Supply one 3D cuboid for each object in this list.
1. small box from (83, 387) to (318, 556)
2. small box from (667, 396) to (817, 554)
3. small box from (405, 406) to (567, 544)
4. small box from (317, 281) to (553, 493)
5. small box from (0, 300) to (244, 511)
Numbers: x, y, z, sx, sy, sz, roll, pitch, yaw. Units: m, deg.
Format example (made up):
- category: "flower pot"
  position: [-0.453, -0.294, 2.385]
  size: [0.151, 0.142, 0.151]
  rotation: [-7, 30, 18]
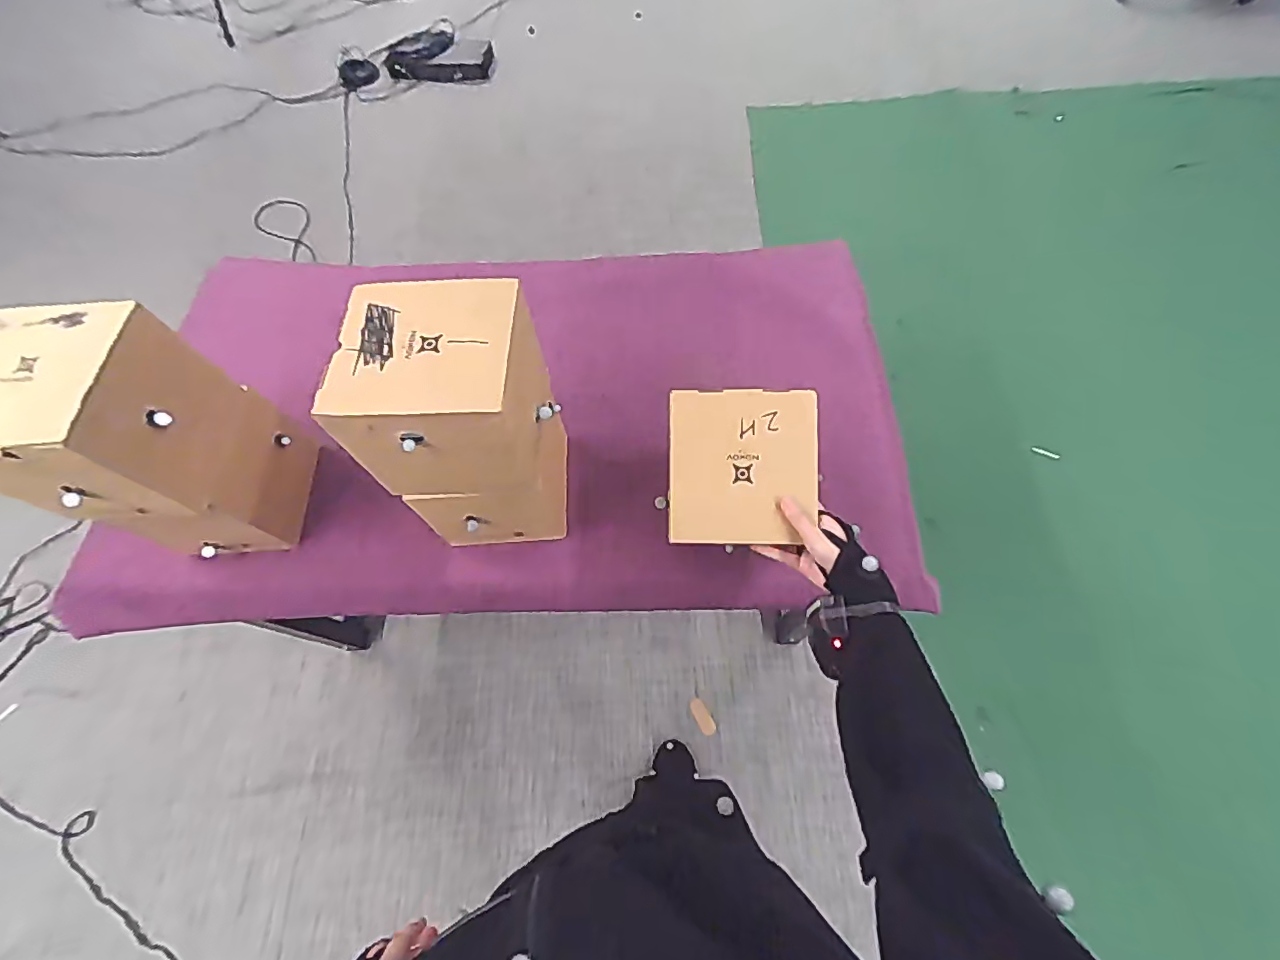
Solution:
- category: "small box"
  position: [-0.583, -0.007, 0.749]
  size: [0.168, 0.176, 0.179]
  rotation: [-3, 64, 1]
- category: "small box"
  position: [0.119, -0.004, 0.685]
  size: [0.168, 0.176, 0.179]
  rotation: [1, 87, 3]
- category: "small box"
  position: [-0.194, -0.019, 0.739]
  size: [0.168, 0.176, 0.179]
  rotation: [-4, 62, 1]
- category: "small box"
  position: [-0.203, -0.093, 0.592]
  size: [0.179, 0.176, 0.168]
  rotation: [-1, 62, 2]
- category: "small box"
  position: [-0.589, -0.071, 0.598]
  size: [0.168, 0.176, 0.179]
  rotation: [-2, 64, 2]
